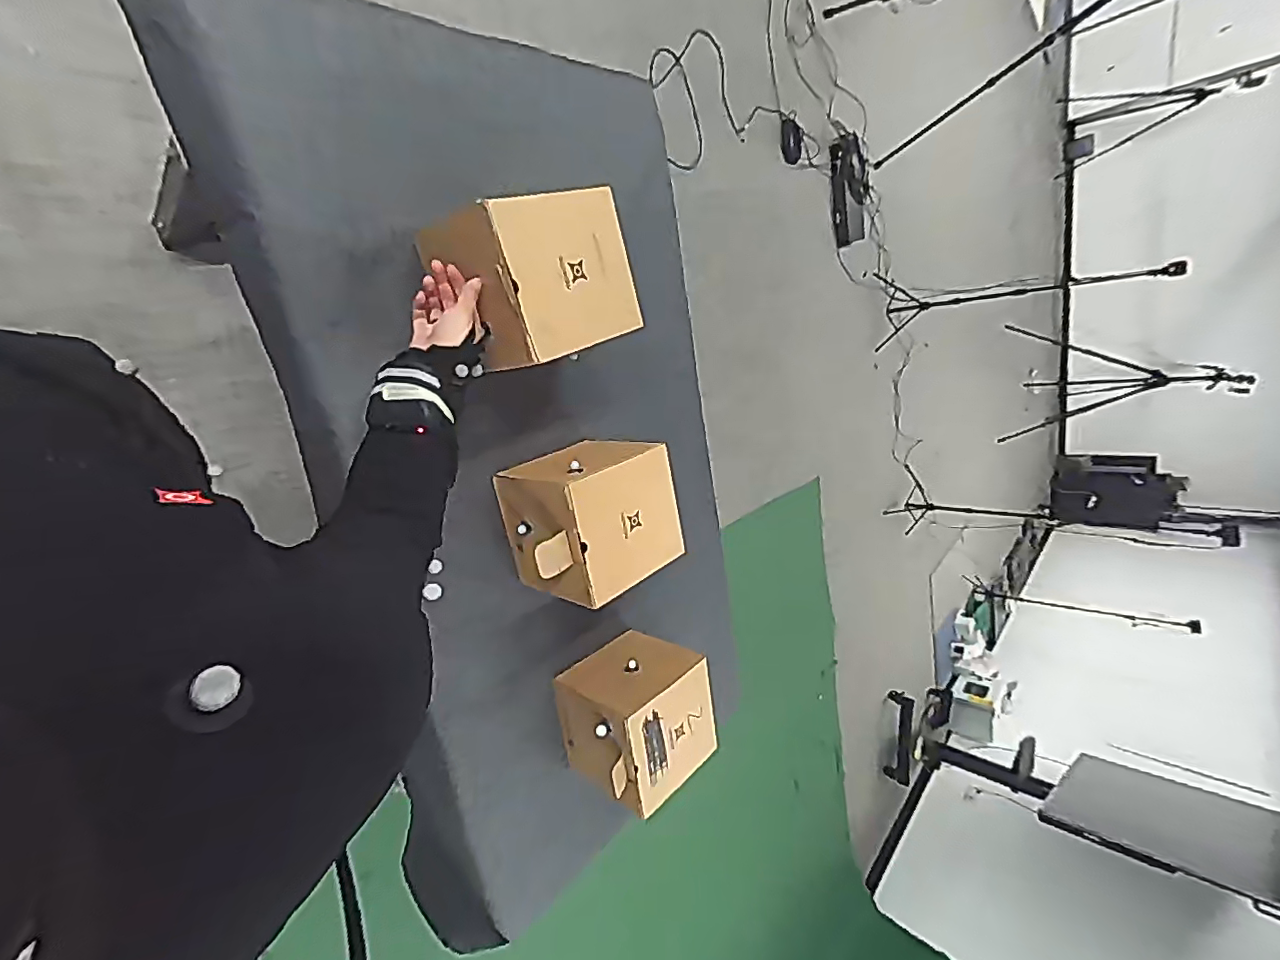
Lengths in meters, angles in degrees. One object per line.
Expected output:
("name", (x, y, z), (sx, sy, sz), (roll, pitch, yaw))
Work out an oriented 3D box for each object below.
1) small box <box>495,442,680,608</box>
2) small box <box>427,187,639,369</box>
("small box", (-0.071, 0.048, 0.753), (0.179, 0.176, 0.168), (-26, 112, -40))
("small box", (-0.134, -0.240, 0.660), (0.179, 0.176, 0.168), (-33, 118, -39))
